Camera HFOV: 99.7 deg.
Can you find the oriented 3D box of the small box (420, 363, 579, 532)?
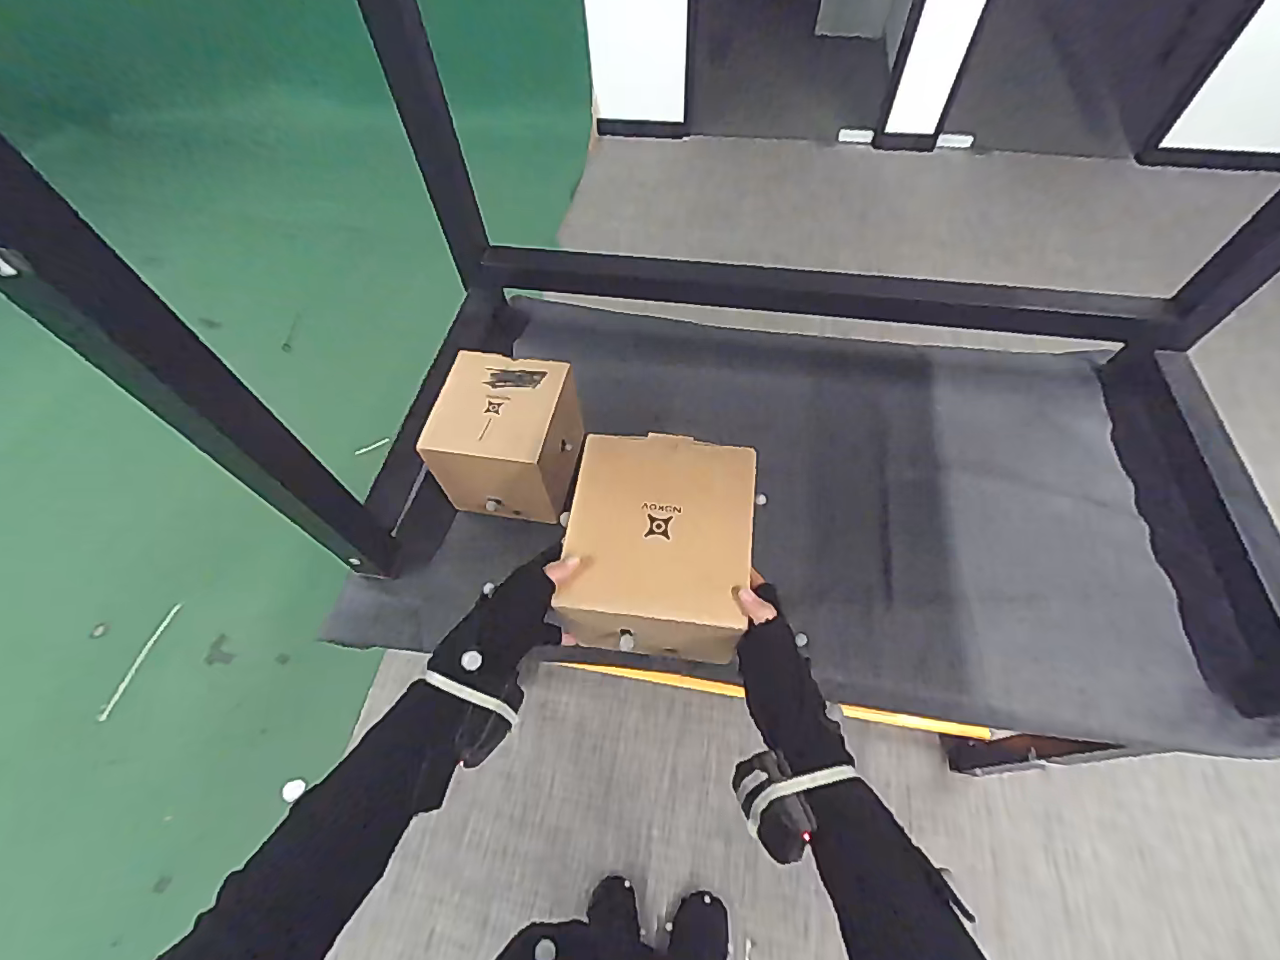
[{"bbox_3d":[-0.192,-0.046,0.805,0.168,0.176,0.179,7,58,7],"label":"small box"}]

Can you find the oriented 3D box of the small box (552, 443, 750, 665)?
[{"bbox_3d":[0.019,0.084,0.563,0.168,0.176,0.179,5,60,6],"label":"small box"}]
